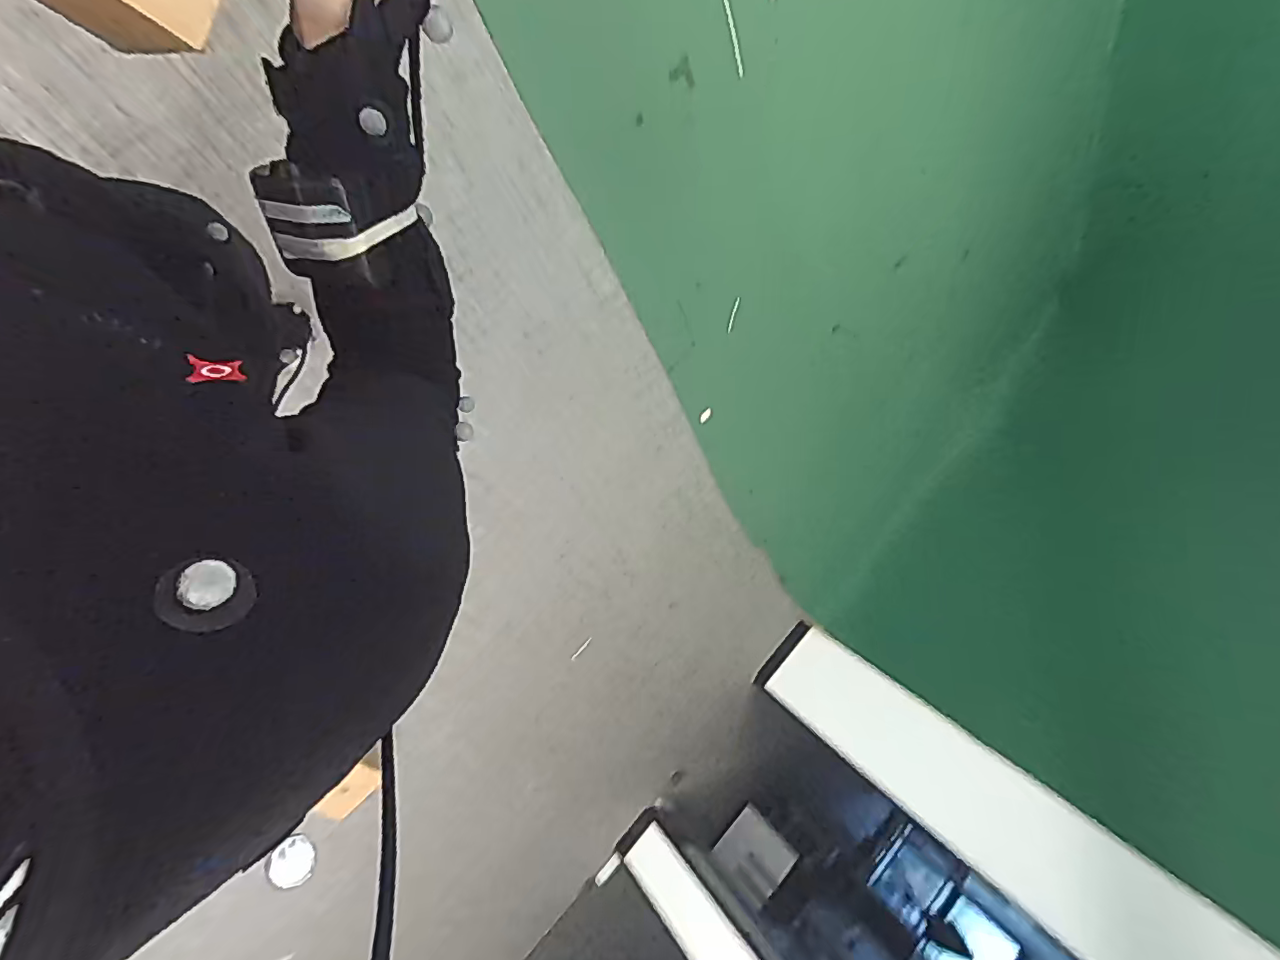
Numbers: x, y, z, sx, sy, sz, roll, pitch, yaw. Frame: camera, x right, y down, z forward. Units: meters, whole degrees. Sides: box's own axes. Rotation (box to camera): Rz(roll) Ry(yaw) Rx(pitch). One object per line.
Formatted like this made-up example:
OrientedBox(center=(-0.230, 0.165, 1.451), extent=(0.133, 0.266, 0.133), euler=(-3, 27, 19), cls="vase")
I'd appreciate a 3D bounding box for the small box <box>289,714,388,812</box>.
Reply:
OrientedBox(center=(-0.873, 0.809, 1.561), extent=(0.168, 0.176, 0.179), euler=(-42, 136, -13), cls="small box")
